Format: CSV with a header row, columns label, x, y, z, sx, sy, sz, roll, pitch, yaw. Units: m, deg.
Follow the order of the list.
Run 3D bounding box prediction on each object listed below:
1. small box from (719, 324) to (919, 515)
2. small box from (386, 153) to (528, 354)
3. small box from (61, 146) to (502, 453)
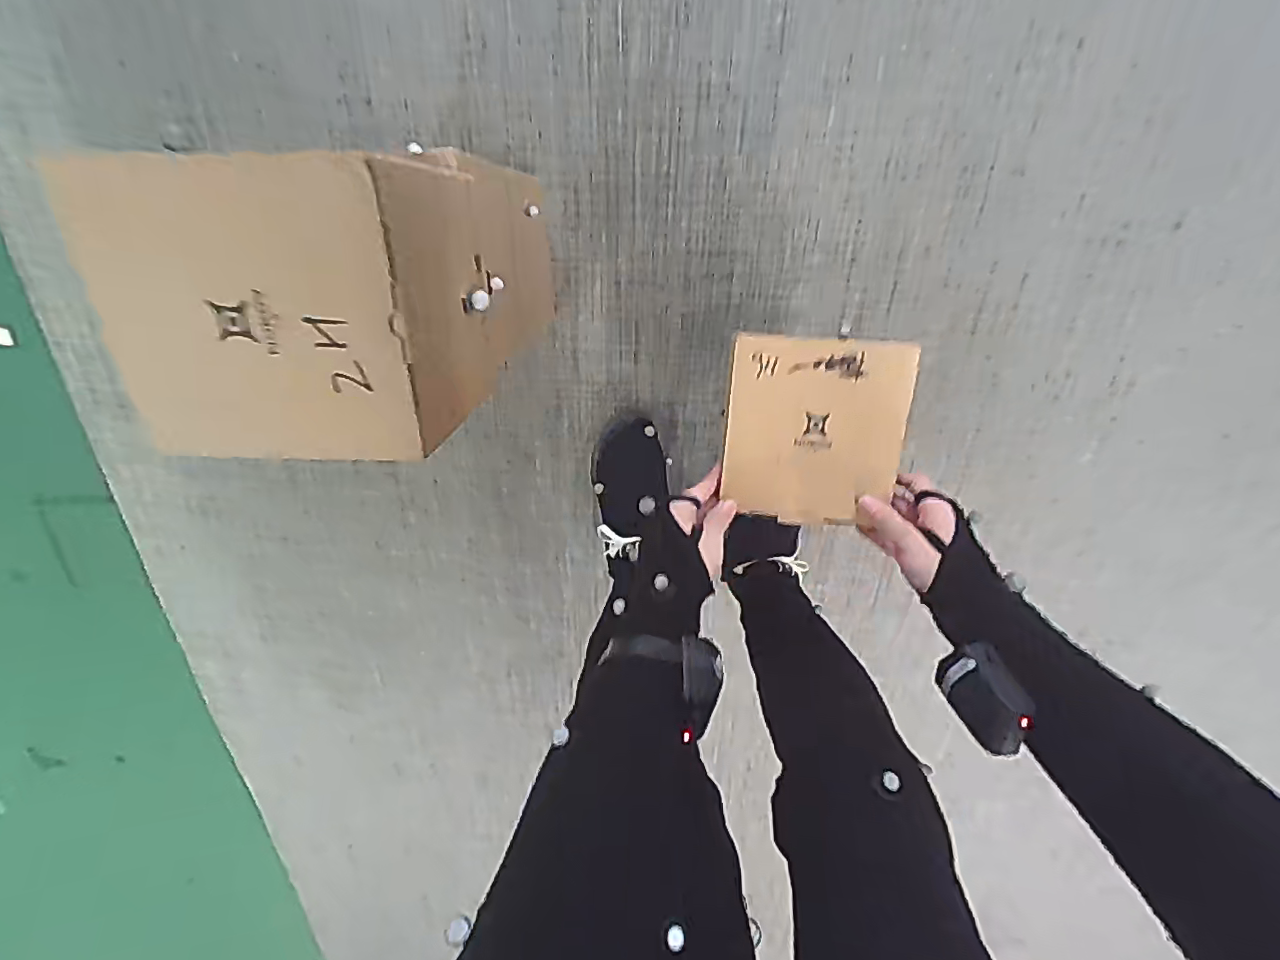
label,x,y,z,sx,sy,sz,roll,pitch,yaw
small box,0.179,-0.076,0.599,0.168,0.176,0.179,5,106,6
small box,-0.212,-0.208,0.525,0.168,0.176,0.179,0,115,1
small box,-0.210,-0.127,0.380,0.179,0.176,0.168,1,116,1
